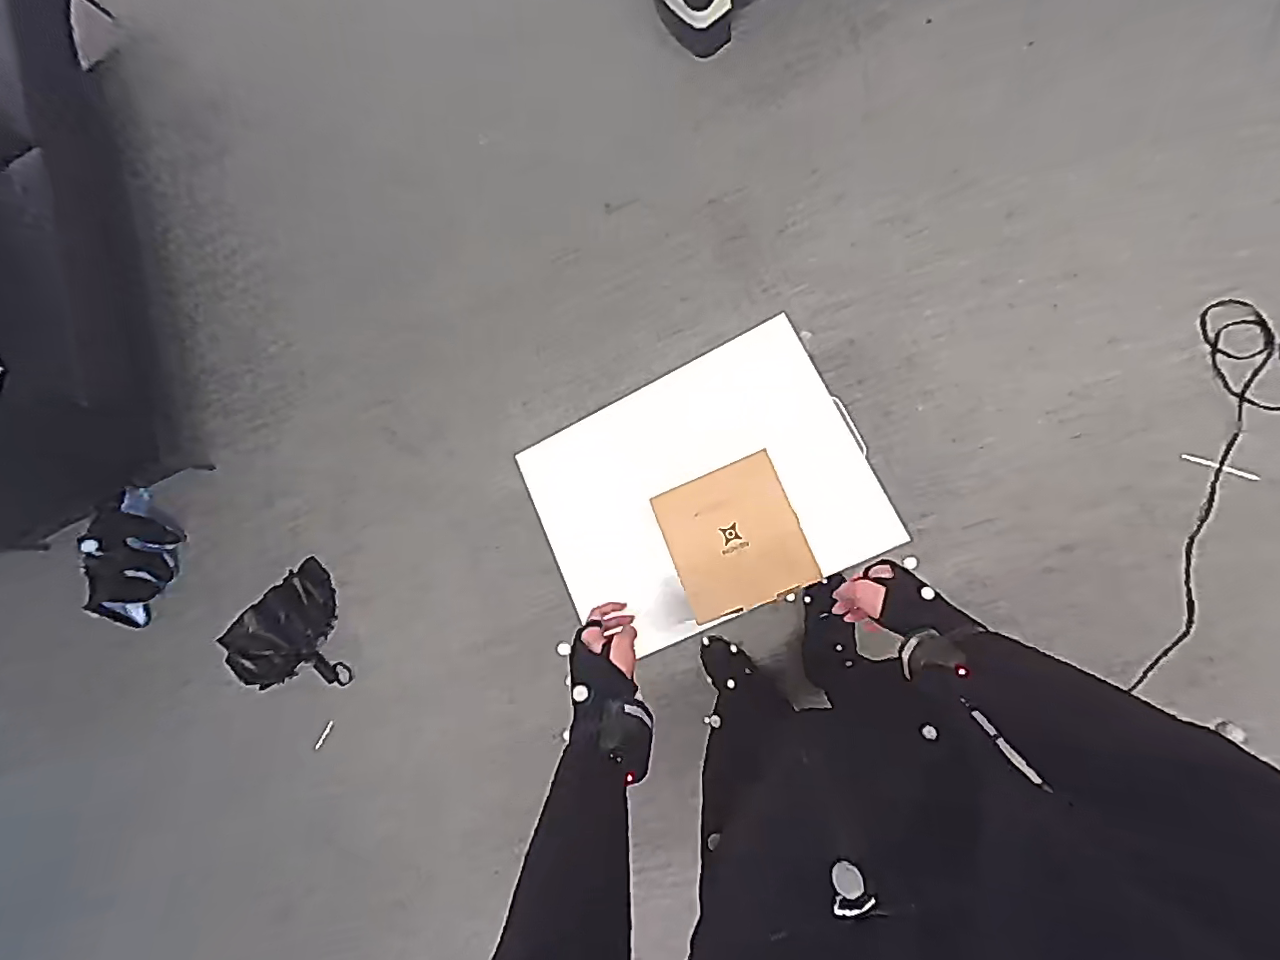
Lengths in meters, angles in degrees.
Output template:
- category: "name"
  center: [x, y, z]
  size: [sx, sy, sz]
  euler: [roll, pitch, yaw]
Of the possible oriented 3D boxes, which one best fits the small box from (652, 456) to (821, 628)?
- category: "small box"
  center: [0.138, 0.088, 0.756]
  size: [0.168, 0.176, 0.179]
  euler: [-24, 76, 9]
